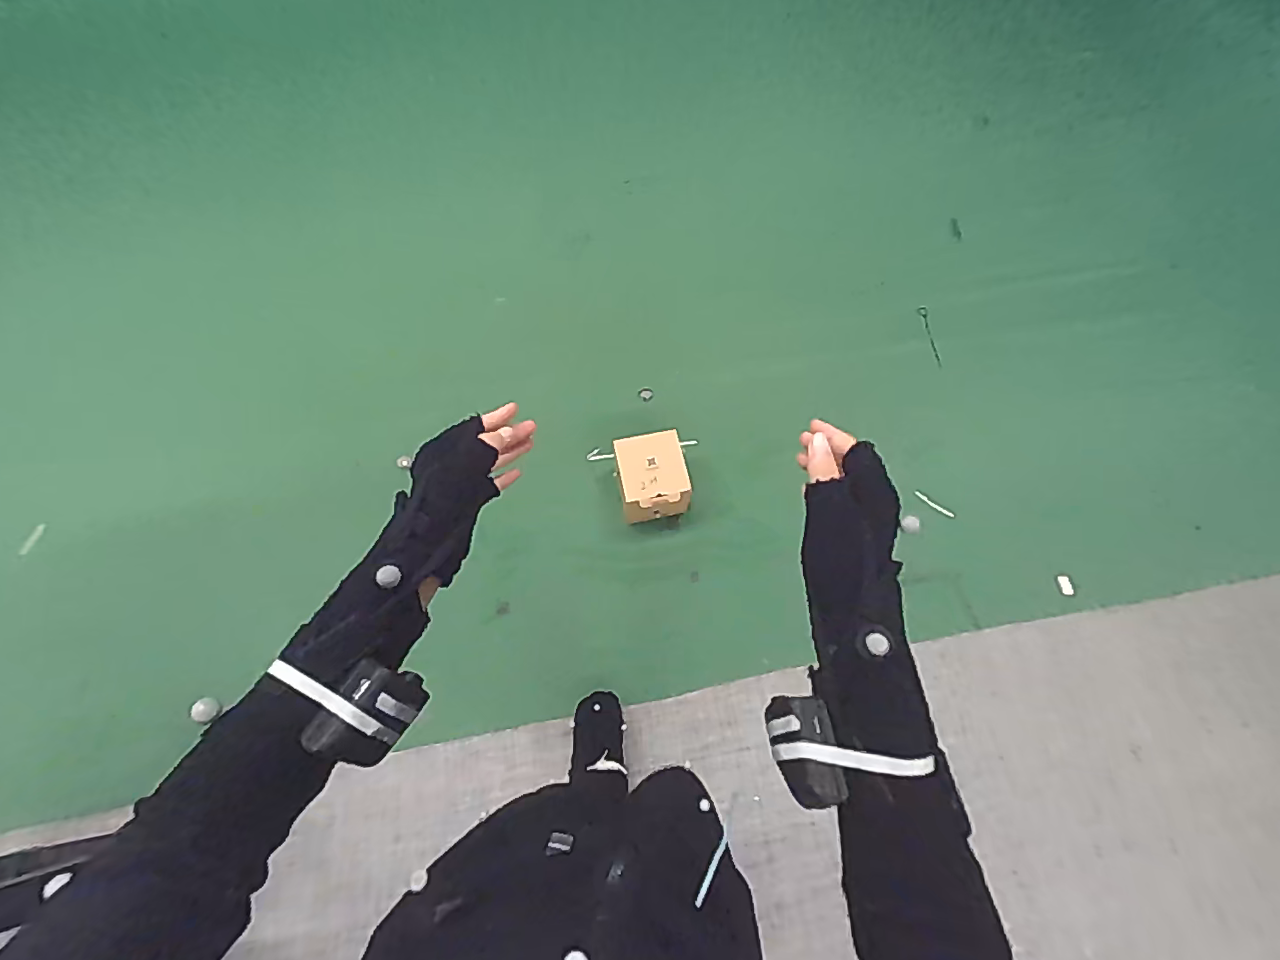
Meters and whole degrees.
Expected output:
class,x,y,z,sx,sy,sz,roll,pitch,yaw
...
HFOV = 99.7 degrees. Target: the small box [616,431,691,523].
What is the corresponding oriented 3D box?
class,x,y,z,sx,sy,sz,roll,pitch,yaw
small box,0.029,-0.004,1.420,0.168,0.176,0.179,-10,69,-5
